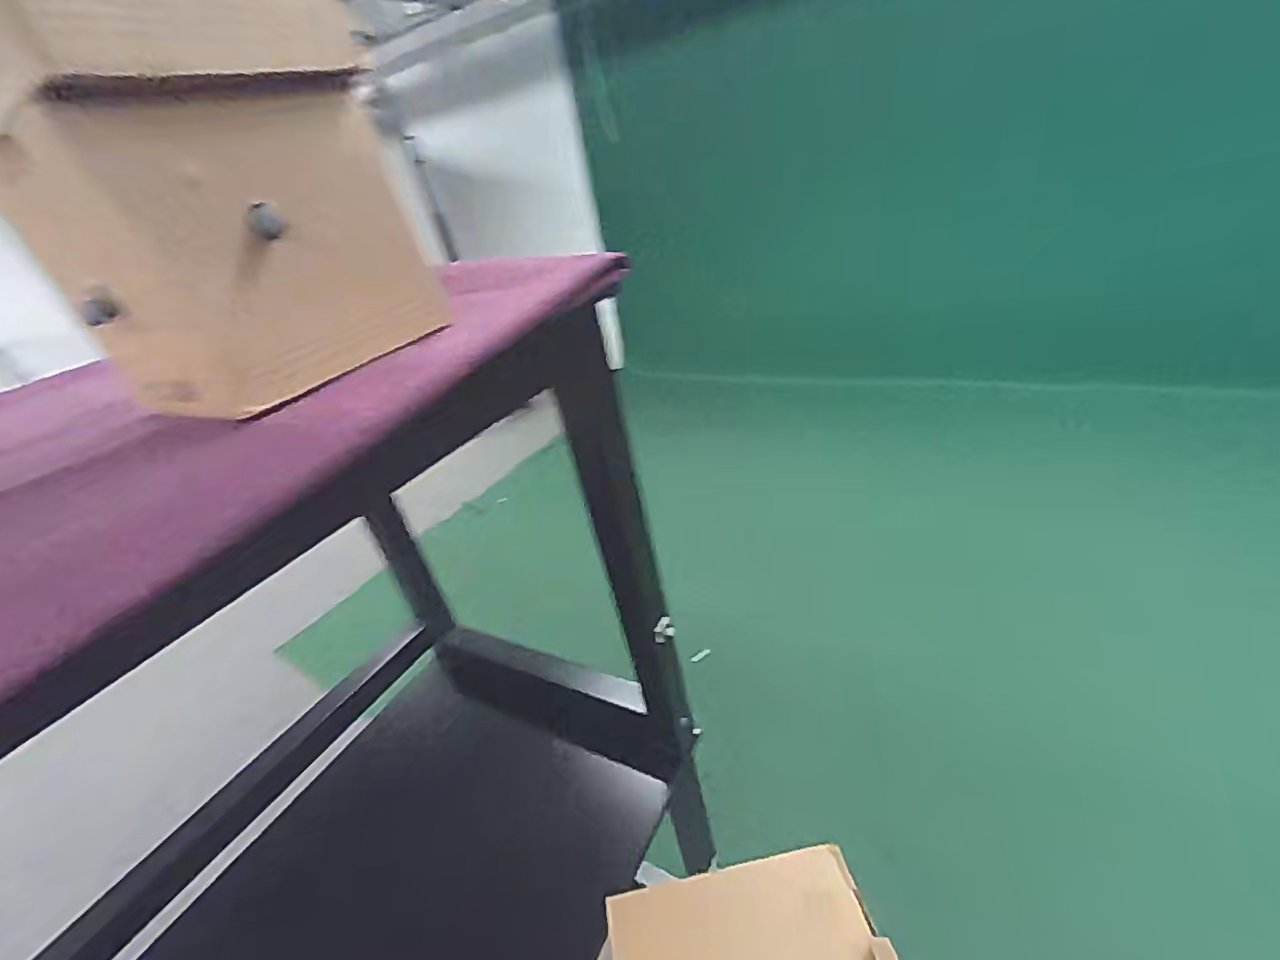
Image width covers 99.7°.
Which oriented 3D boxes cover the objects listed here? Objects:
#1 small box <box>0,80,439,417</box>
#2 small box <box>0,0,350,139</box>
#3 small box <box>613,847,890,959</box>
[{"bbox_3d":[-0.283,-0.156,0.385,0.168,0.176,0.179,6,37,31],"label":"small box"},{"bbox_3d":[-0.308,-0.291,0.296,0.168,0.176,0.179,6,36,32],"label":"small box"},{"bbox_3d":[0.086,0.393,0.367,0.179,0.176,0.168,-12,31,-2],"label":"small box"}]
